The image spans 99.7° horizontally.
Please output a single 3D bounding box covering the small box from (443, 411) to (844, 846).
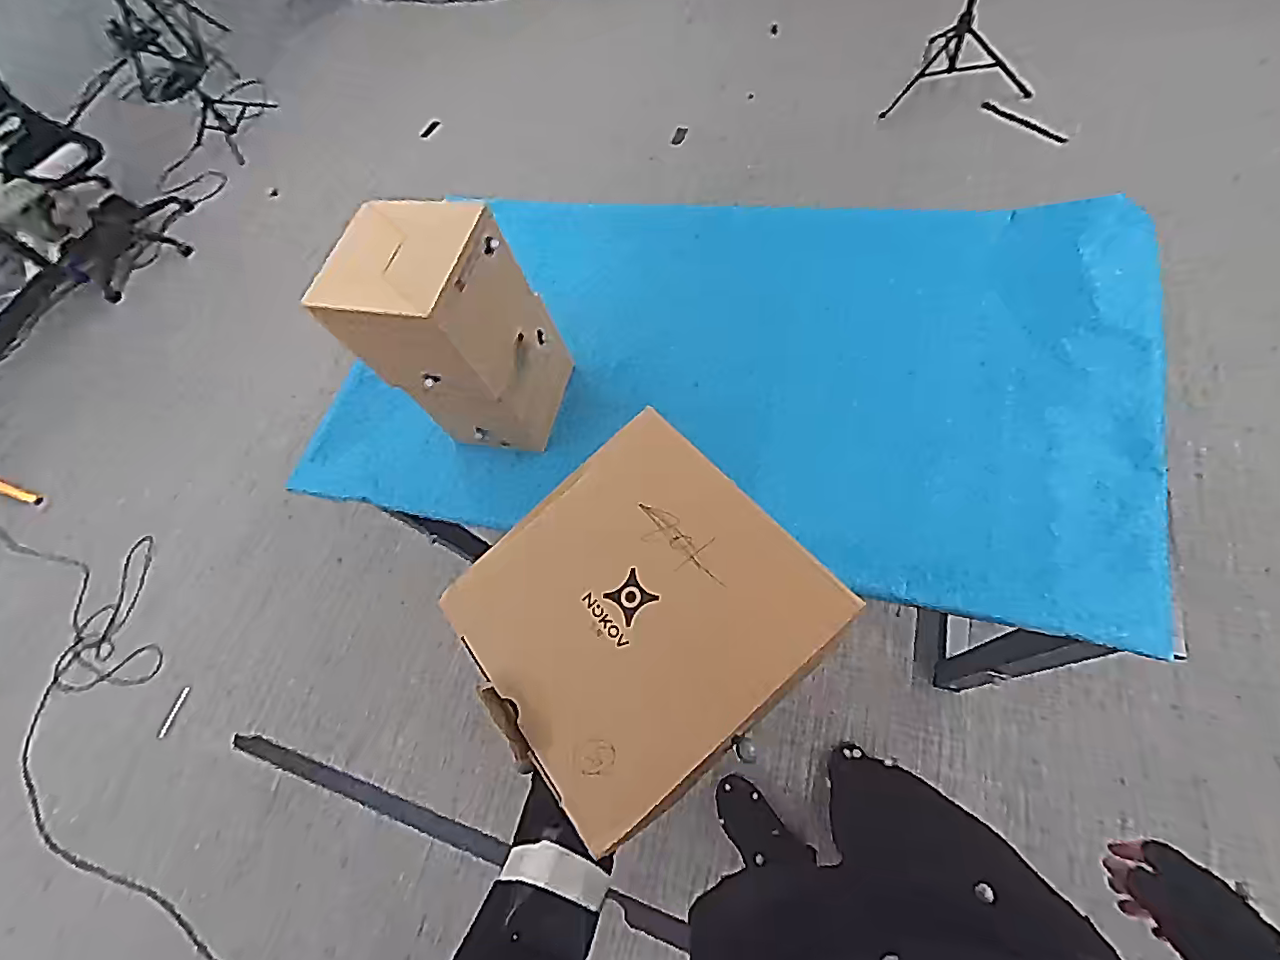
[{"bbox_3d":[0.014,0.095,0.364,0.179,0.176,0.168,-42,63,-2],"label":"small box"}]

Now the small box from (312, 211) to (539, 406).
[{"bbox_3d":[-0.258,-0.213,0.679,0.179,0.176,0.168,10,68,17],"label":"small box"}]

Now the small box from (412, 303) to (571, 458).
[{"bbox_3d":[-0.222,-0.157,0.832,0.168,0.176,0.179,11,71,19],"label":"small box"}]
